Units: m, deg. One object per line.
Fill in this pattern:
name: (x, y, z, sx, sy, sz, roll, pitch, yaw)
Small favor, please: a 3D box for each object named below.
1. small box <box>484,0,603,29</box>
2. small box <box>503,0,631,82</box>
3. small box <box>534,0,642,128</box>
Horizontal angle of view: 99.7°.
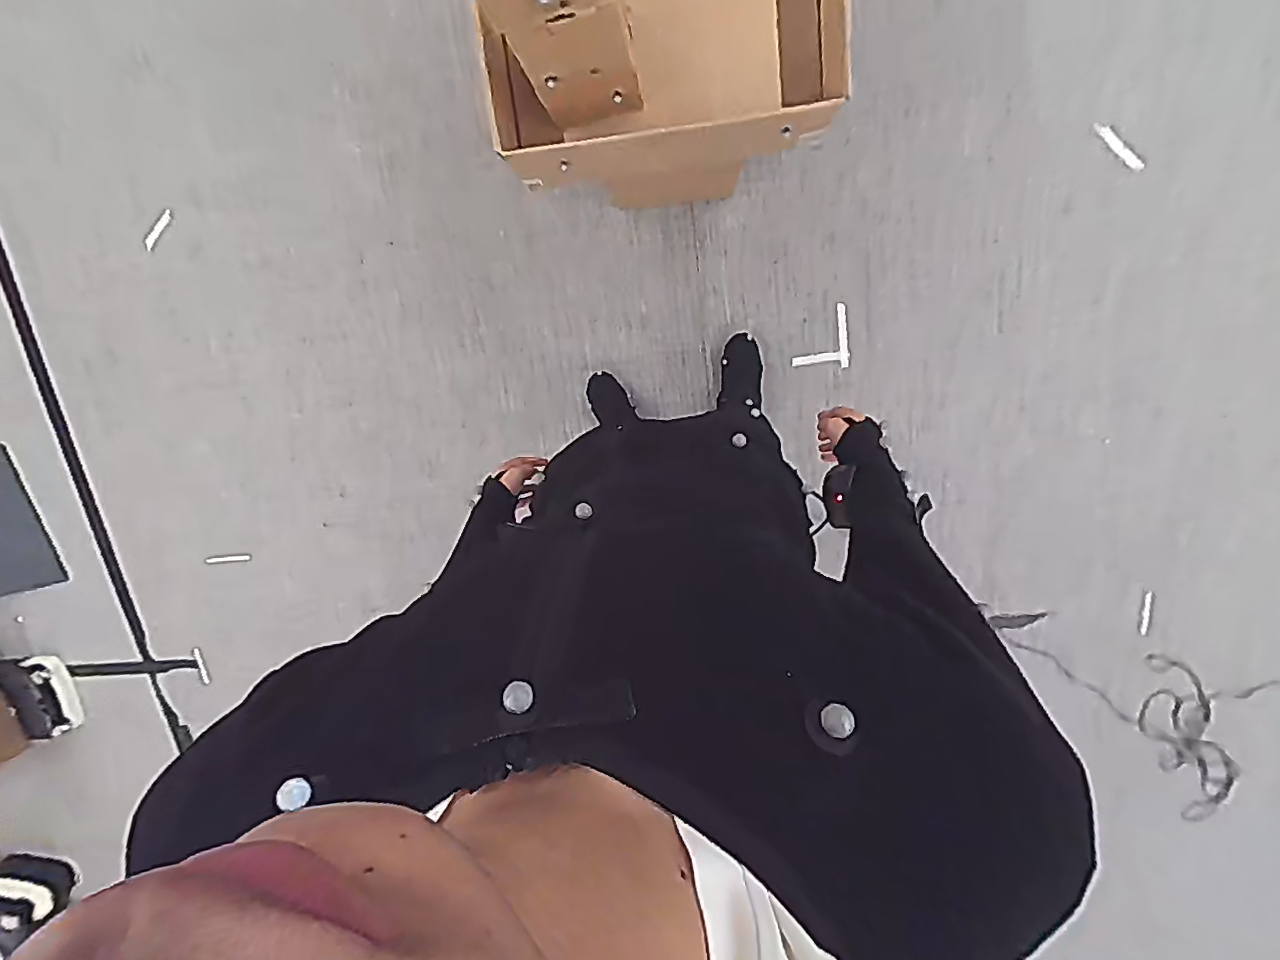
small box: (-0.140, -0.691, 0.633, 0.168, 0.176, 0.179, -10, 101, 7)
small box: (-0.113, -0.724, 0.794, 0.168, 0.176, 0.179, -8, 101, 7)
small box: (-0.095, -0.757, 0.953, 0.179, 0.176, 0.168, -9, 102, 8)
